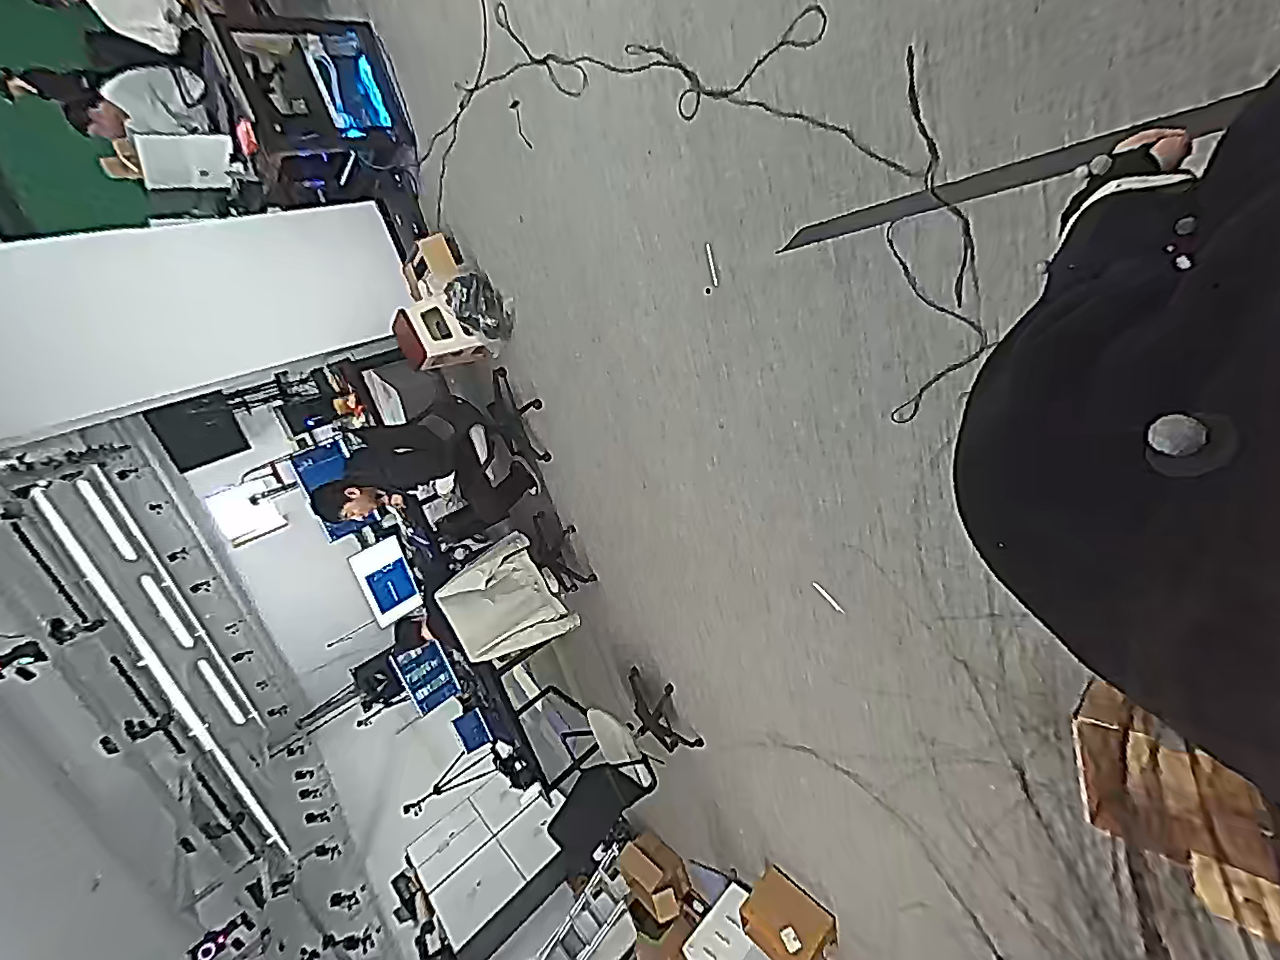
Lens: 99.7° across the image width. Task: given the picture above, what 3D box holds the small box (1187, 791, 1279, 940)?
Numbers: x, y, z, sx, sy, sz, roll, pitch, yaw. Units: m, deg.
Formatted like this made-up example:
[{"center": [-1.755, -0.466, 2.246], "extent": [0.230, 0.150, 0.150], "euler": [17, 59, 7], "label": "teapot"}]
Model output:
[{"center": [1.288, 0.812, 1.142], "extent": [0.168, 0.176, 0.179], "euler": [1, 116, 52], "label": "small box"}]
